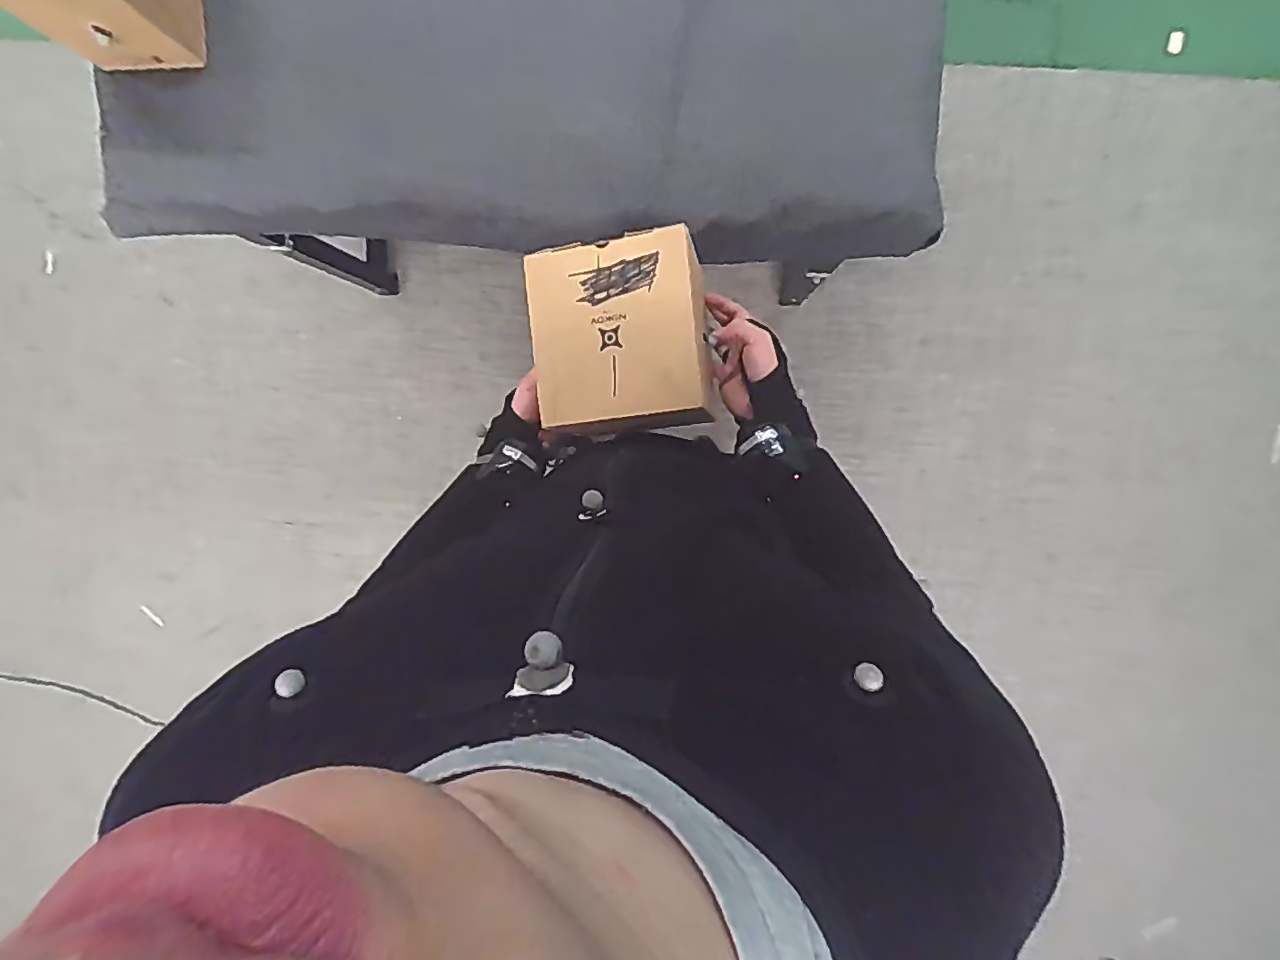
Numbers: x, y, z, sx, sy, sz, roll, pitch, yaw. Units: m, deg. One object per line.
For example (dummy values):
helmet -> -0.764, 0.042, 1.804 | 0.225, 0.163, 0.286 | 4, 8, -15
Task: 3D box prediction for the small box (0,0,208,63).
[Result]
small box -> -0.715, -0.688, 0.712 | 0.168, 0.176, 0.179 | 1, 97, 3
